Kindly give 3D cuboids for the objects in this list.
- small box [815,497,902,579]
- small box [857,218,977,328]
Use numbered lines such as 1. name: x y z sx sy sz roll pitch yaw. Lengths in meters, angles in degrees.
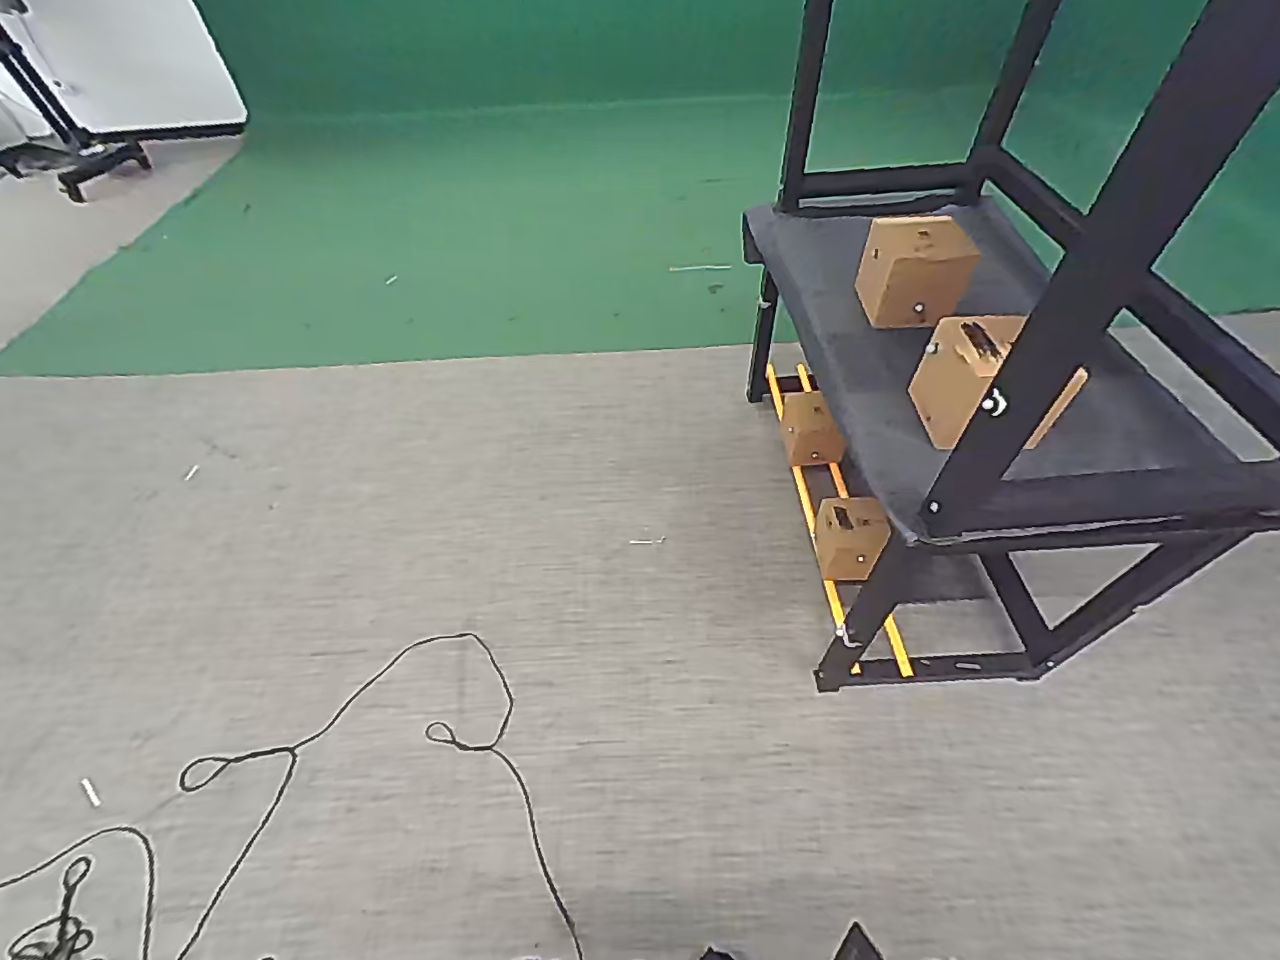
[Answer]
1. small box: 0.591 0.163 1.493 0.179 0.176 0.168 -1 50 3
2. small box: 0.598 -0.458 1.199 0.168 0.176 0.179 -1 50 3
